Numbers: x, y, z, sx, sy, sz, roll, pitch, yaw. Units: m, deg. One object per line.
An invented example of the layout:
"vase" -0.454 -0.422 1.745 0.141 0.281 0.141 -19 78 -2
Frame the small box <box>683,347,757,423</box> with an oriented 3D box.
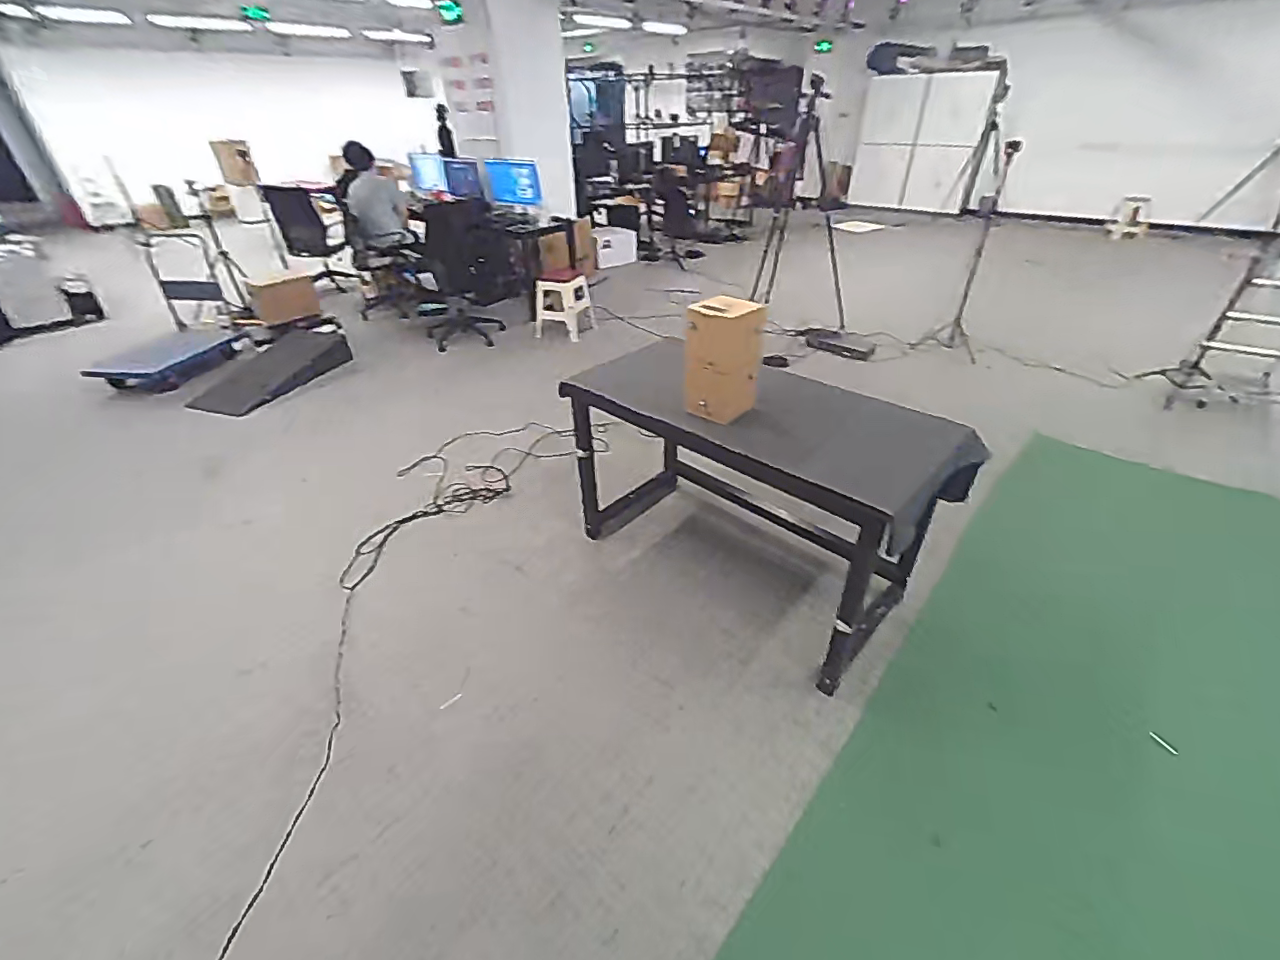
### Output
"small box" 0.248 -0.303 1.717 0.168 0.176 0.179 26 42 34
